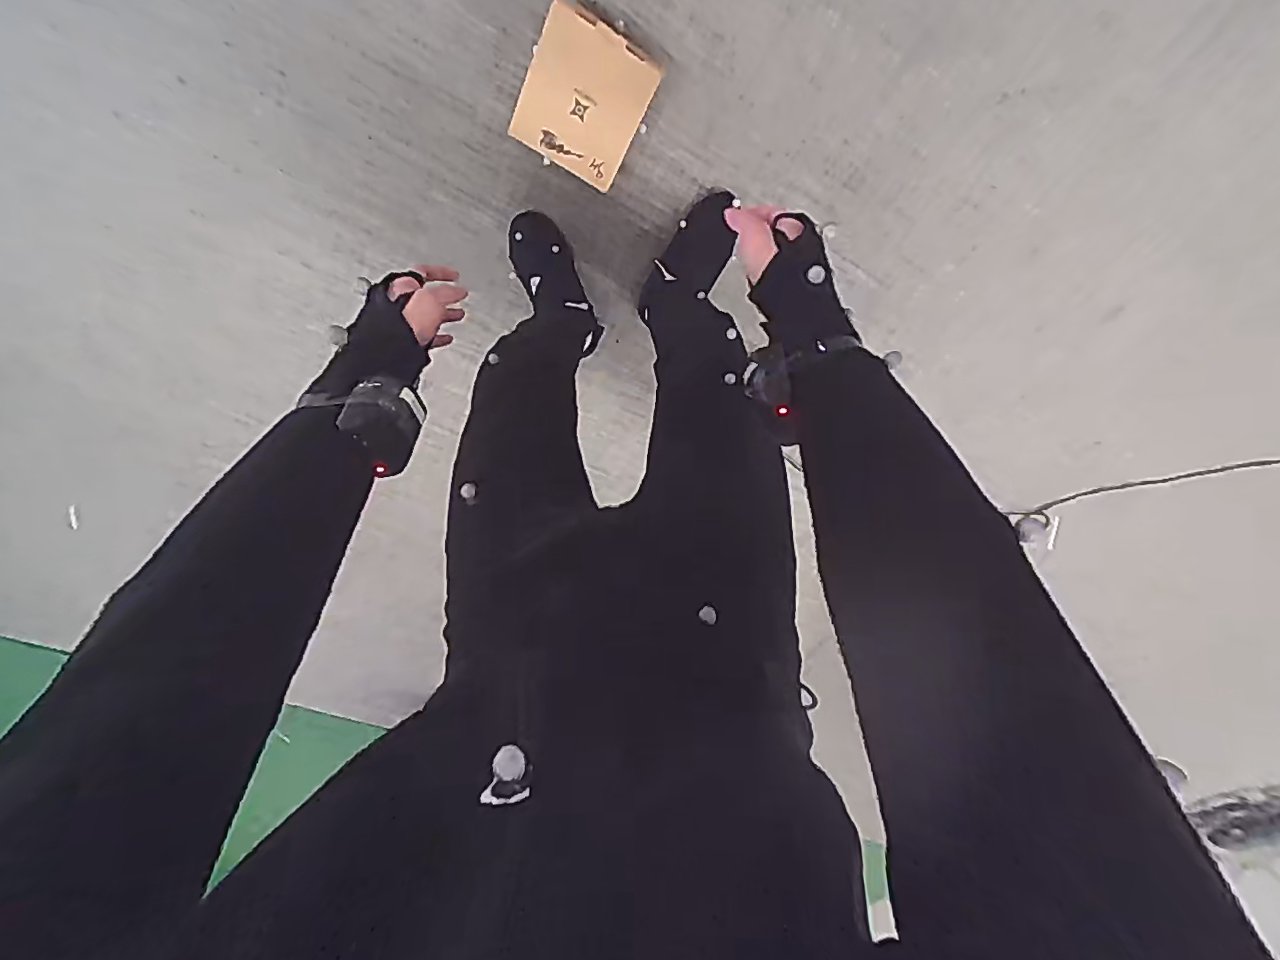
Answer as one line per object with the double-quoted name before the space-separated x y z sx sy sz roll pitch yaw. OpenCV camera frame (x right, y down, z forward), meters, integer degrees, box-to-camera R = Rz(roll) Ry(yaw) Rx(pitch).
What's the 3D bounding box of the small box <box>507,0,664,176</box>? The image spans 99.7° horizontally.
"small box" -0.078 -0.605 0.816 0.168 0.176 0.179 26 127 -17
